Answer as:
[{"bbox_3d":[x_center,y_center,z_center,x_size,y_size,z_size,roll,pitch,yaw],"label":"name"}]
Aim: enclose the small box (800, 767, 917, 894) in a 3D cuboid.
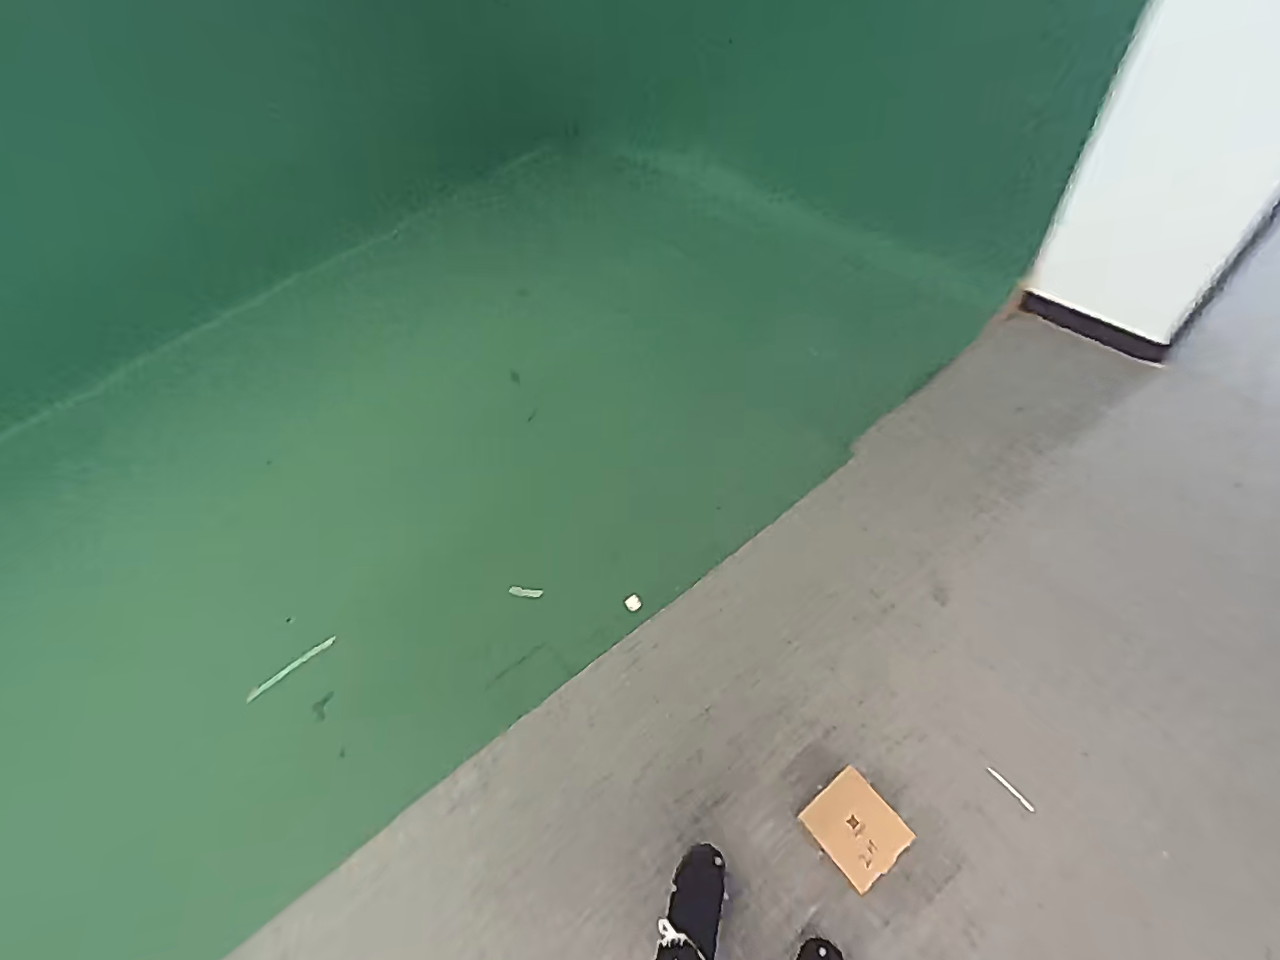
[{"bbox_3d":[0.476,0.784,1.211,0.168,0.176,0.179,-36,55,-12],"label":"small box"}]
